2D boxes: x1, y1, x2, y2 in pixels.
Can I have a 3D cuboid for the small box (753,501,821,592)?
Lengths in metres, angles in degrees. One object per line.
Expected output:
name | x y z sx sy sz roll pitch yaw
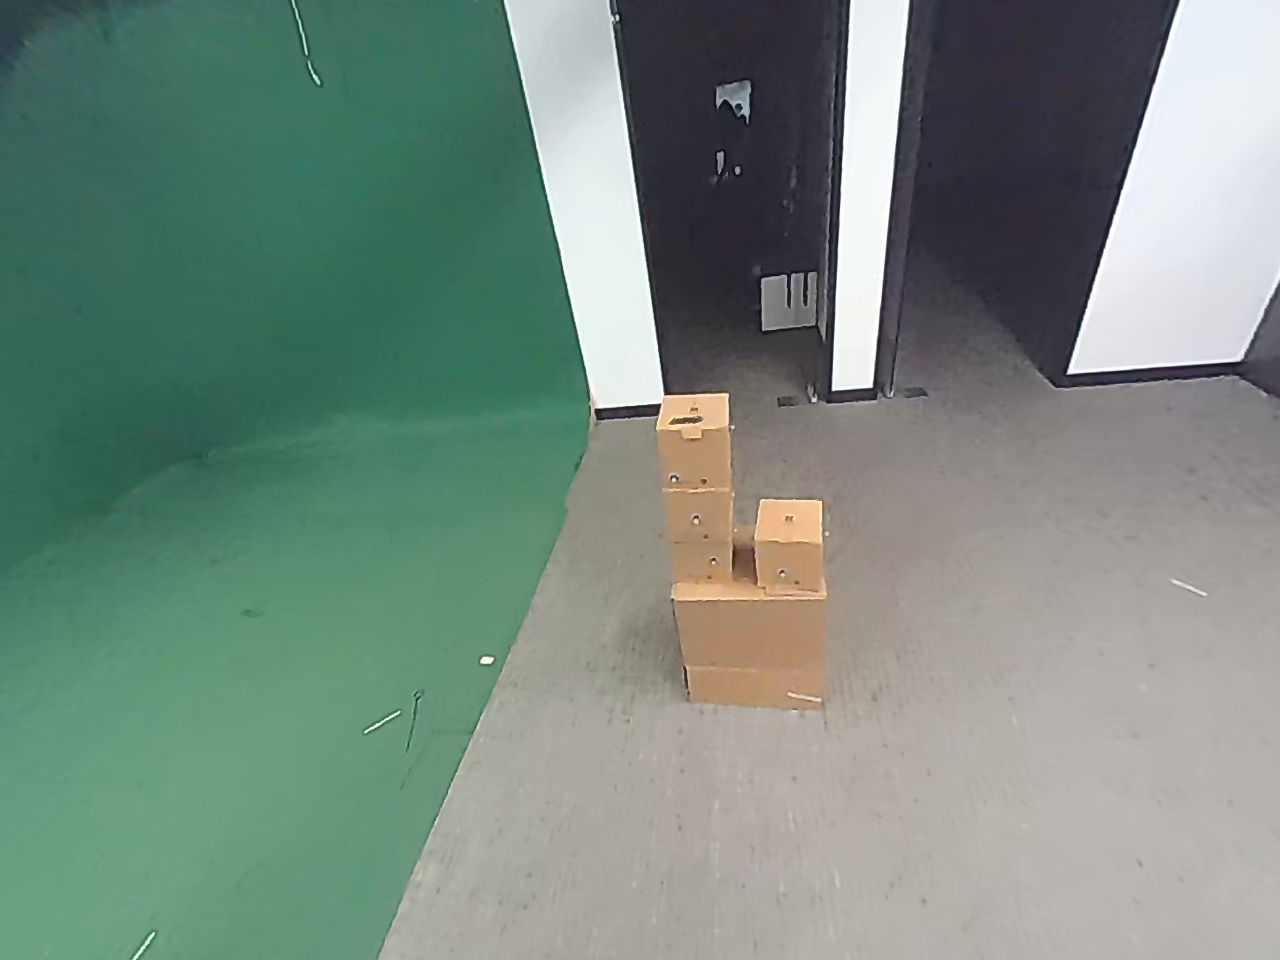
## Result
small box | 0.399 0.176 1.454 0.168 0.176 0.179 0 35 18

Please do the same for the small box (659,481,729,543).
small box | 0.148 0.051 1.417 0.168 0.176 0.179 -1 36 10

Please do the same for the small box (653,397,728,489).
small box | 0.131 -0.089 1.331 0.168 0.176 0.179 -1 34 10

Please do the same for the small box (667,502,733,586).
small box | 0.174 0.179 1.517 0.168 0.176 0.179 0 35 12
